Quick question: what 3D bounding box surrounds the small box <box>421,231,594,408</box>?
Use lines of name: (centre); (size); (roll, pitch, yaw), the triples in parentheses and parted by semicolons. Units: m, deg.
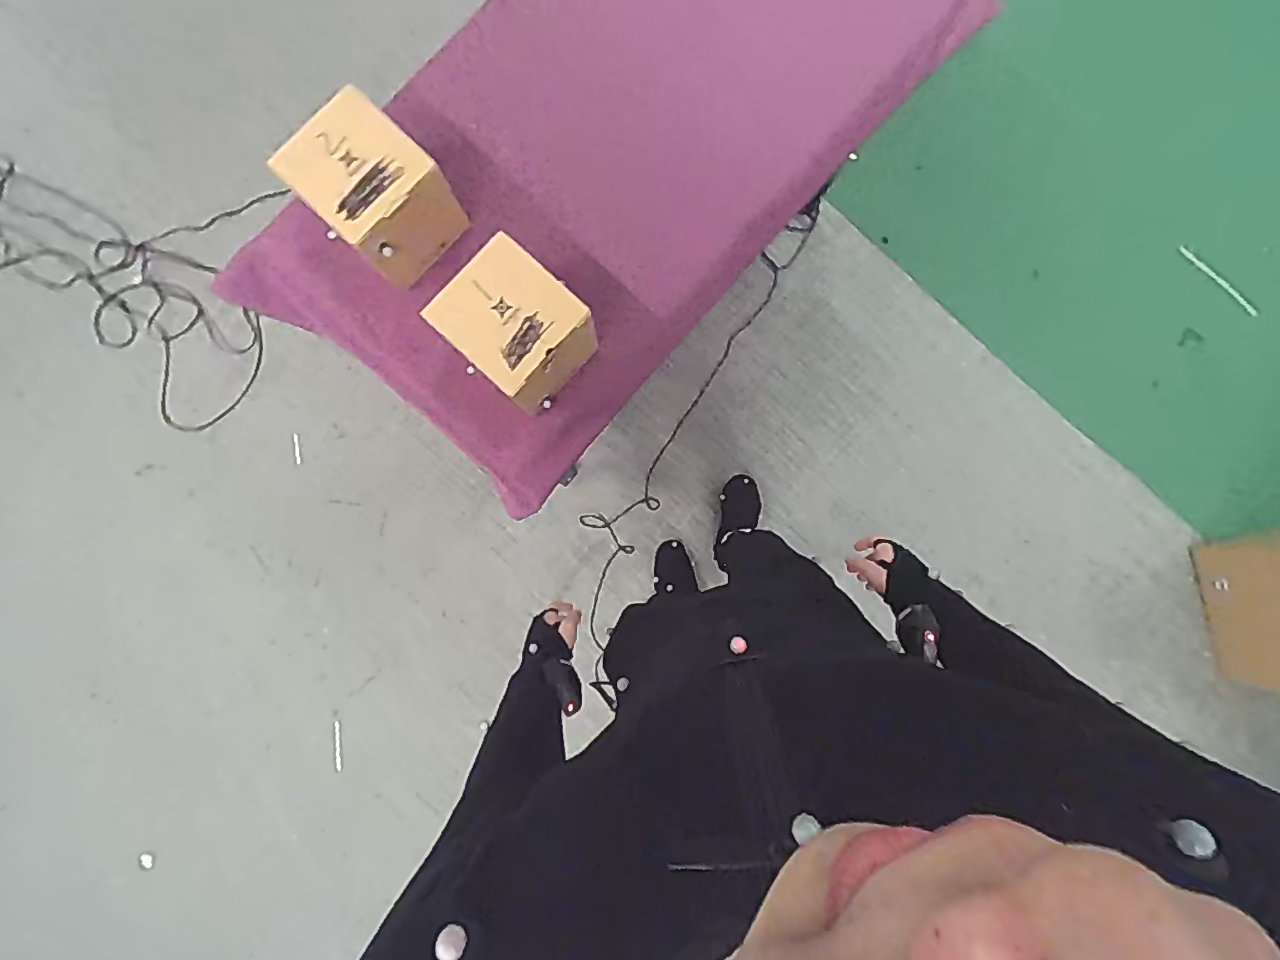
small box: (-0.185, -0.227, 0.823); (0.179, 0.176, 0.168); (42, 87, 2)
